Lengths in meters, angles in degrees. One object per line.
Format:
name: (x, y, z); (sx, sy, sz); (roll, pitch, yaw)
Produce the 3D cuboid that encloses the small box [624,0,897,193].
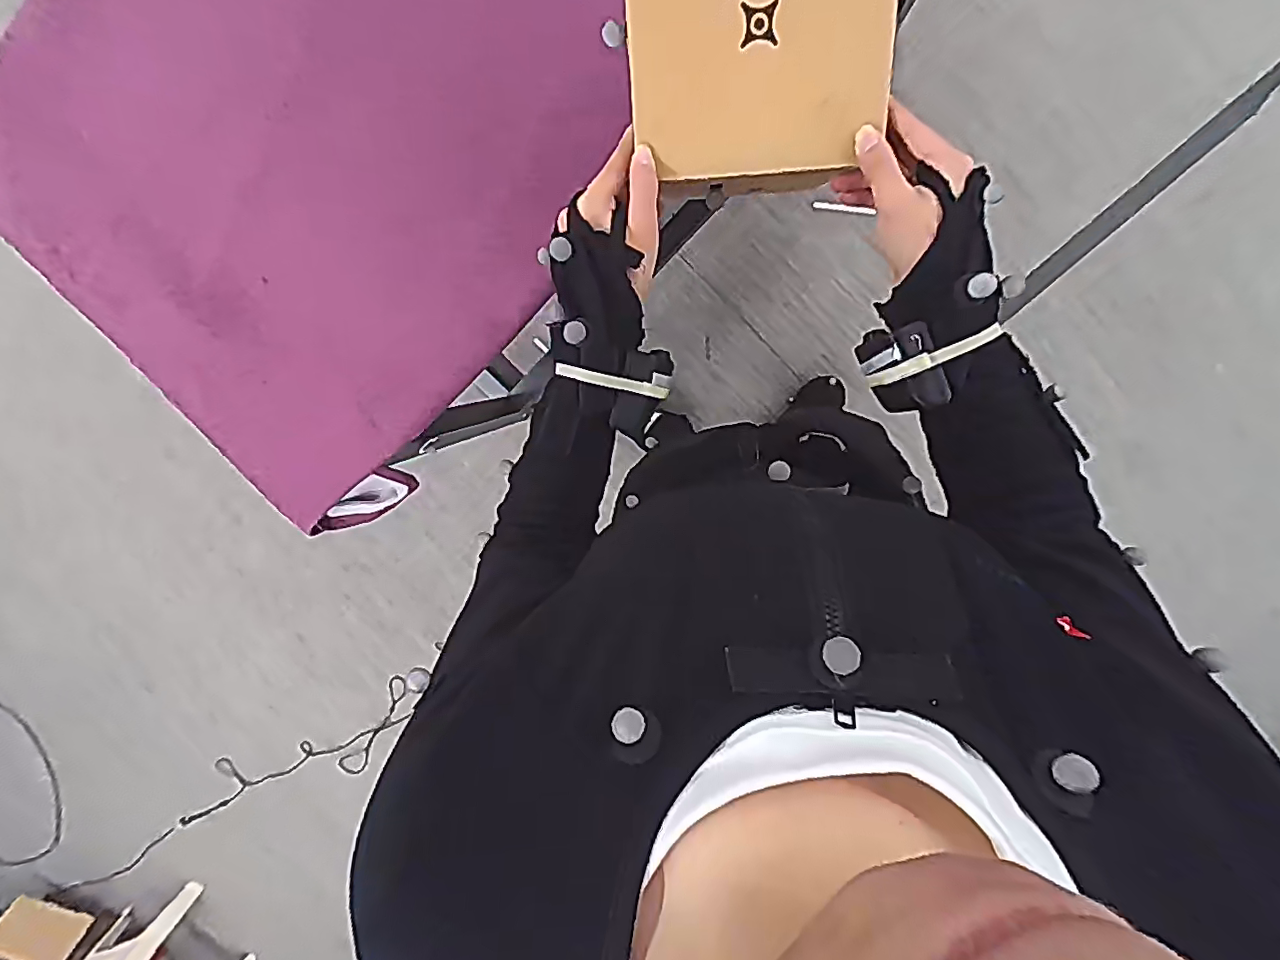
small box: (0.077, -0.319, 0.401); (0.168, 0.176, 0.179); (-2, 112, 4)
